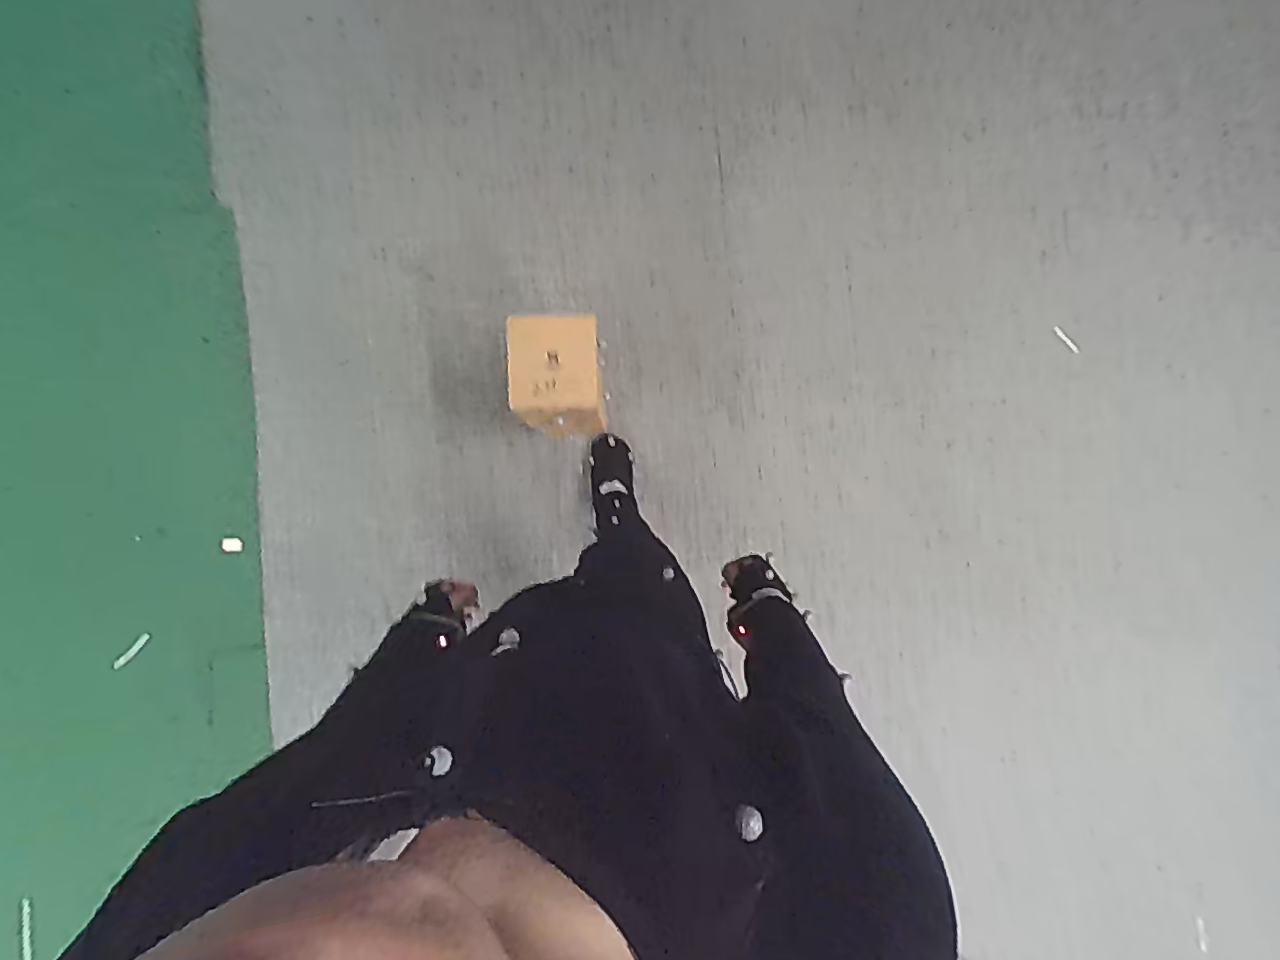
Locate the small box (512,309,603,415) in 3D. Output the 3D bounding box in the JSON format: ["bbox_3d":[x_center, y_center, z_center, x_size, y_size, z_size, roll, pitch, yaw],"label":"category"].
[{"bbox_3d":[-0.160,-0.228,1.082,0.168,0.176,0.179,-1,90,-3],"label":"small box"}]

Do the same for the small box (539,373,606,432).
[{"bbox_3d":[-0.176,-0.225,1.410,0.168,0.176,0.179,-5,90,-3],"label":"small box"}]
